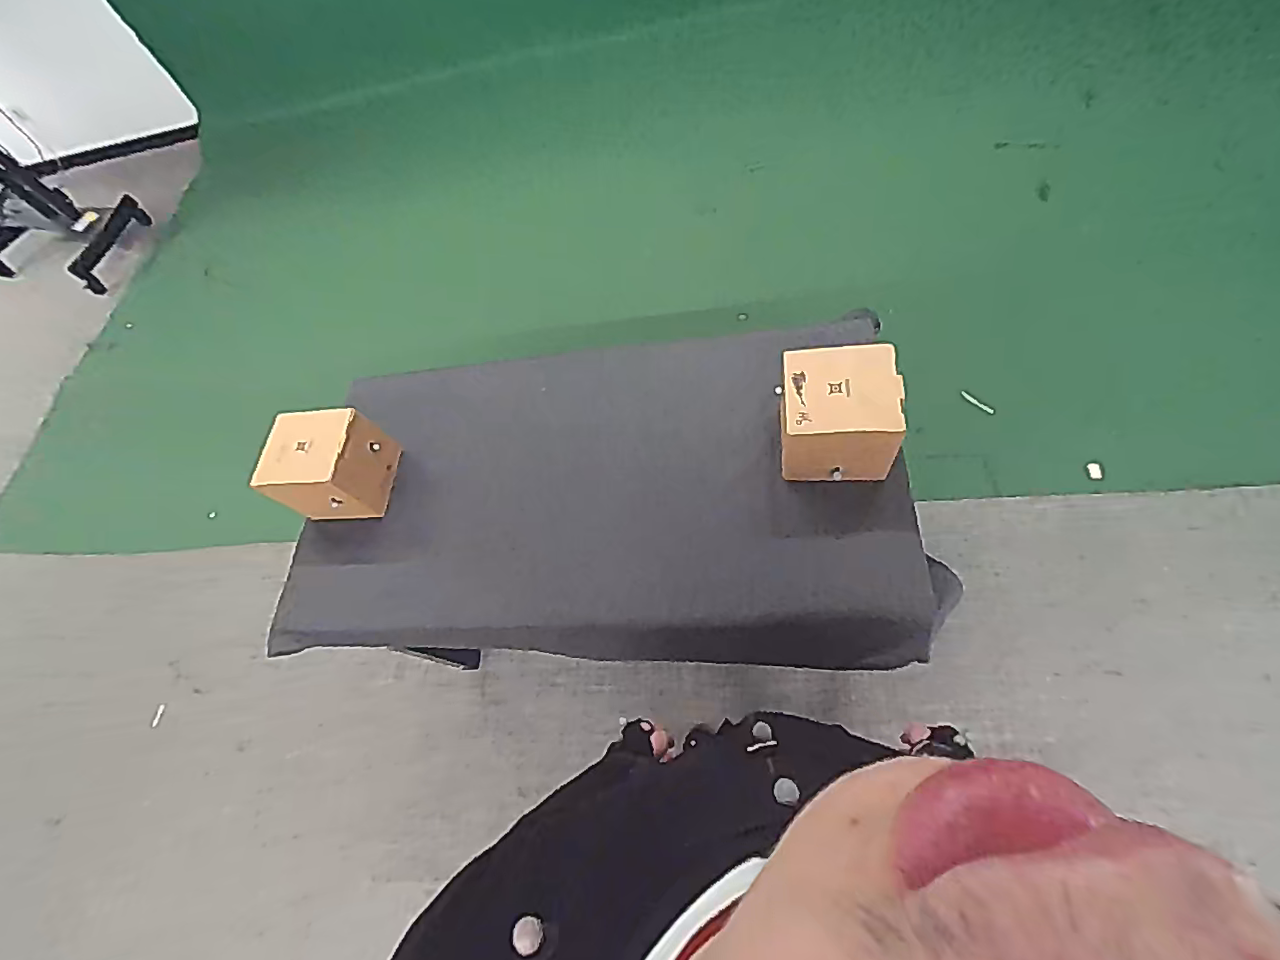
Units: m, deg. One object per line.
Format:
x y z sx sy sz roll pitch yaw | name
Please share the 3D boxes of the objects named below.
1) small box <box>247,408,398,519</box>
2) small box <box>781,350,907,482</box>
-0.625 -0.029 1.092 0.179 0.176 0.168 -1 61 12 | small box
0.339 -0.104 0.933 0.179 0.176 0.168 -1 64 12 | small box
